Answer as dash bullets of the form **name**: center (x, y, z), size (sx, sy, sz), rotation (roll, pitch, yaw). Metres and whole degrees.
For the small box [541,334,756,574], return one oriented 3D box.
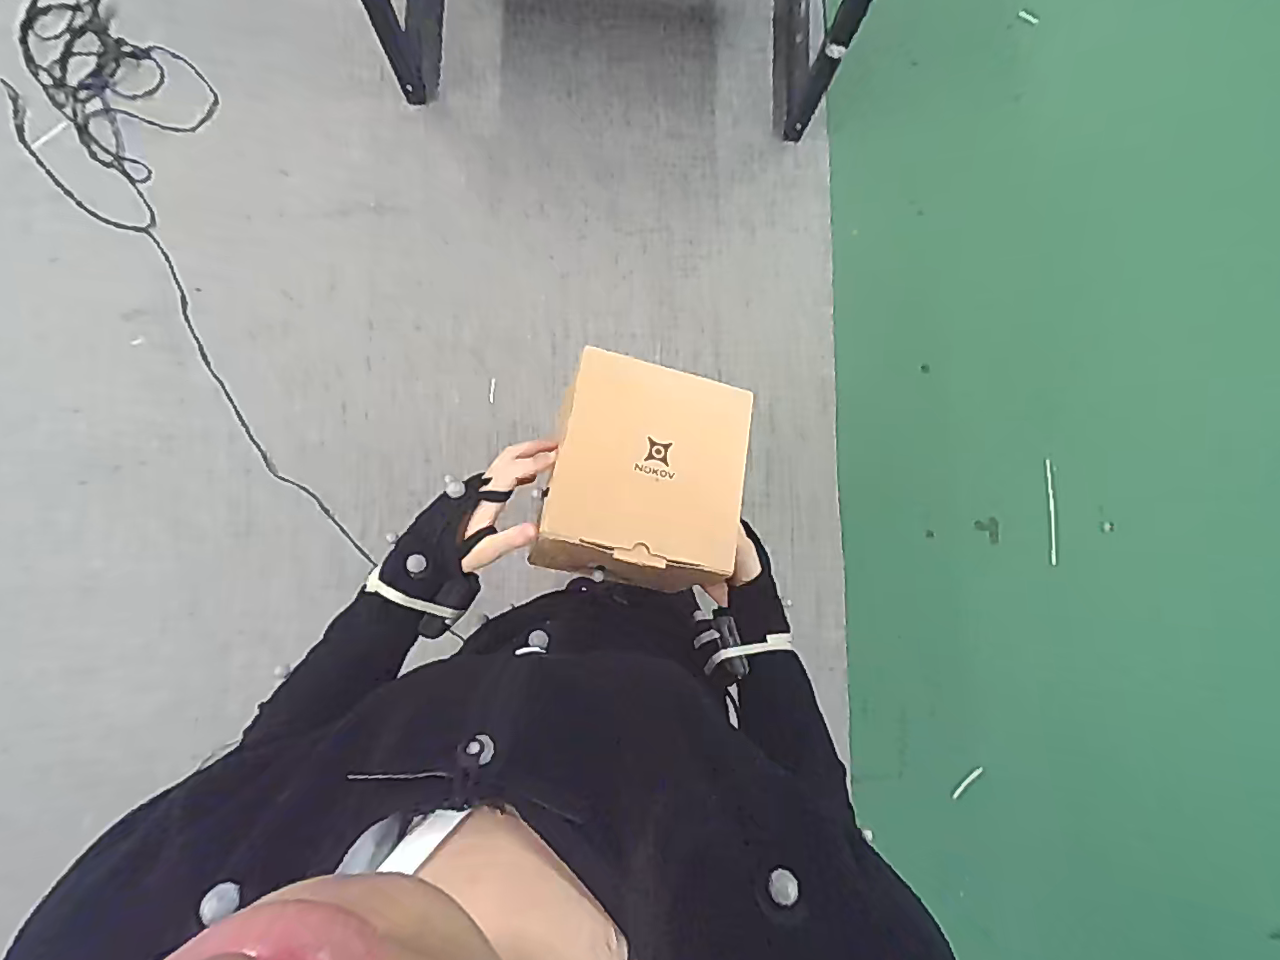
- **small box**: center (0.001, -0.012, 0.549), size (0.168, 0.176, 0.179), rotation (13, 72, -12)
